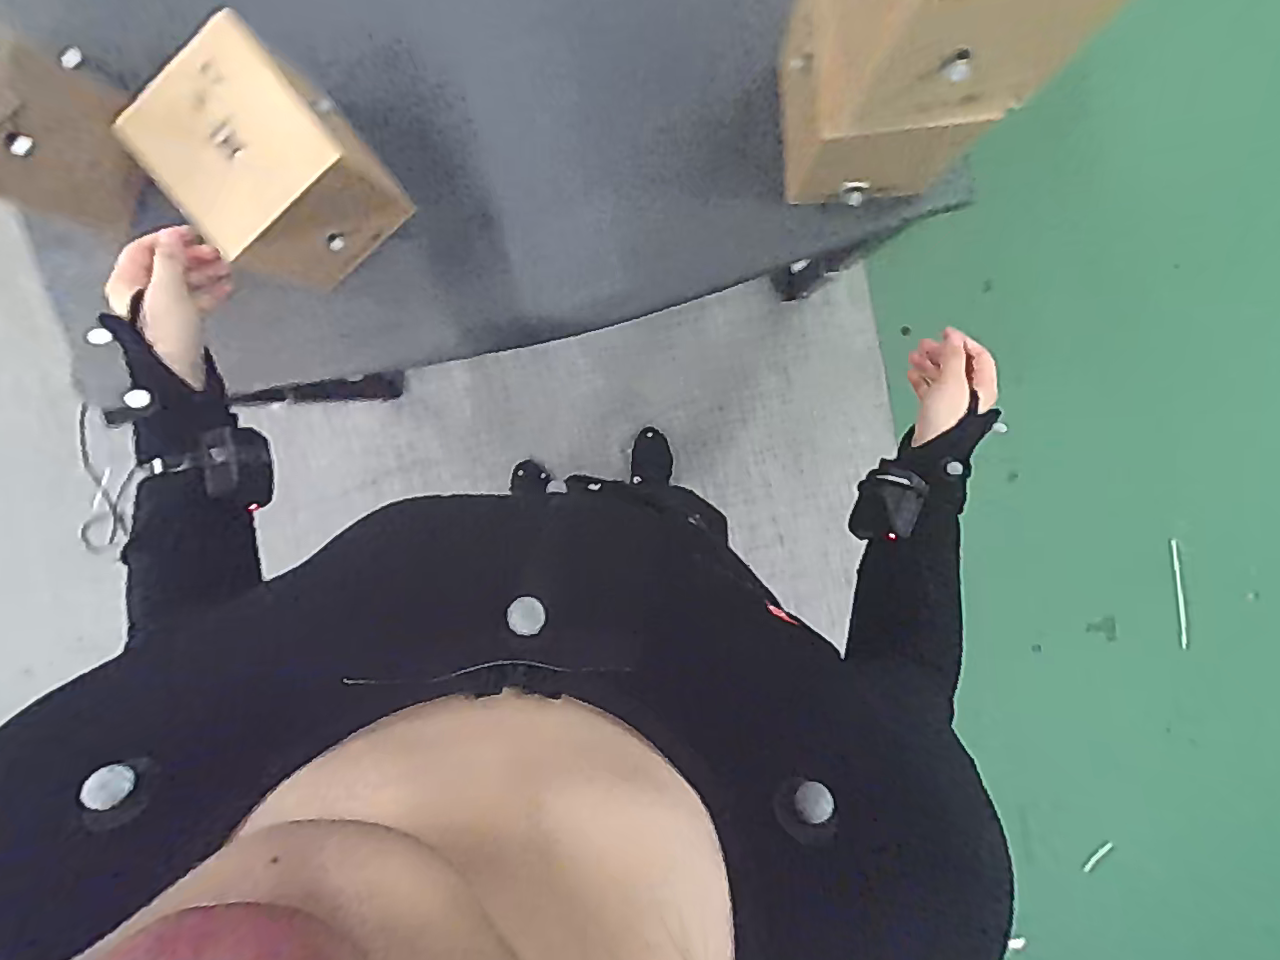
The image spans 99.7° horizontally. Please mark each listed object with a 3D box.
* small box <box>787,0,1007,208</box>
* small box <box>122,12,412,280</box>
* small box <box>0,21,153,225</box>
[{"bbox_3d":[0.255,-0.416,0.572,0.168,0.176,0.179,-4,96,5],"label":"small box"},{"bbox_3d":[-0.403,-0.353,0.621,0.168,0.176,0.179,-38,95,7],"label":"small box"},{"bbox_3d":[-0.724,-0.426,0.627,0.179,0.176,0.168,27,100,-2],"label":"small box"}]
